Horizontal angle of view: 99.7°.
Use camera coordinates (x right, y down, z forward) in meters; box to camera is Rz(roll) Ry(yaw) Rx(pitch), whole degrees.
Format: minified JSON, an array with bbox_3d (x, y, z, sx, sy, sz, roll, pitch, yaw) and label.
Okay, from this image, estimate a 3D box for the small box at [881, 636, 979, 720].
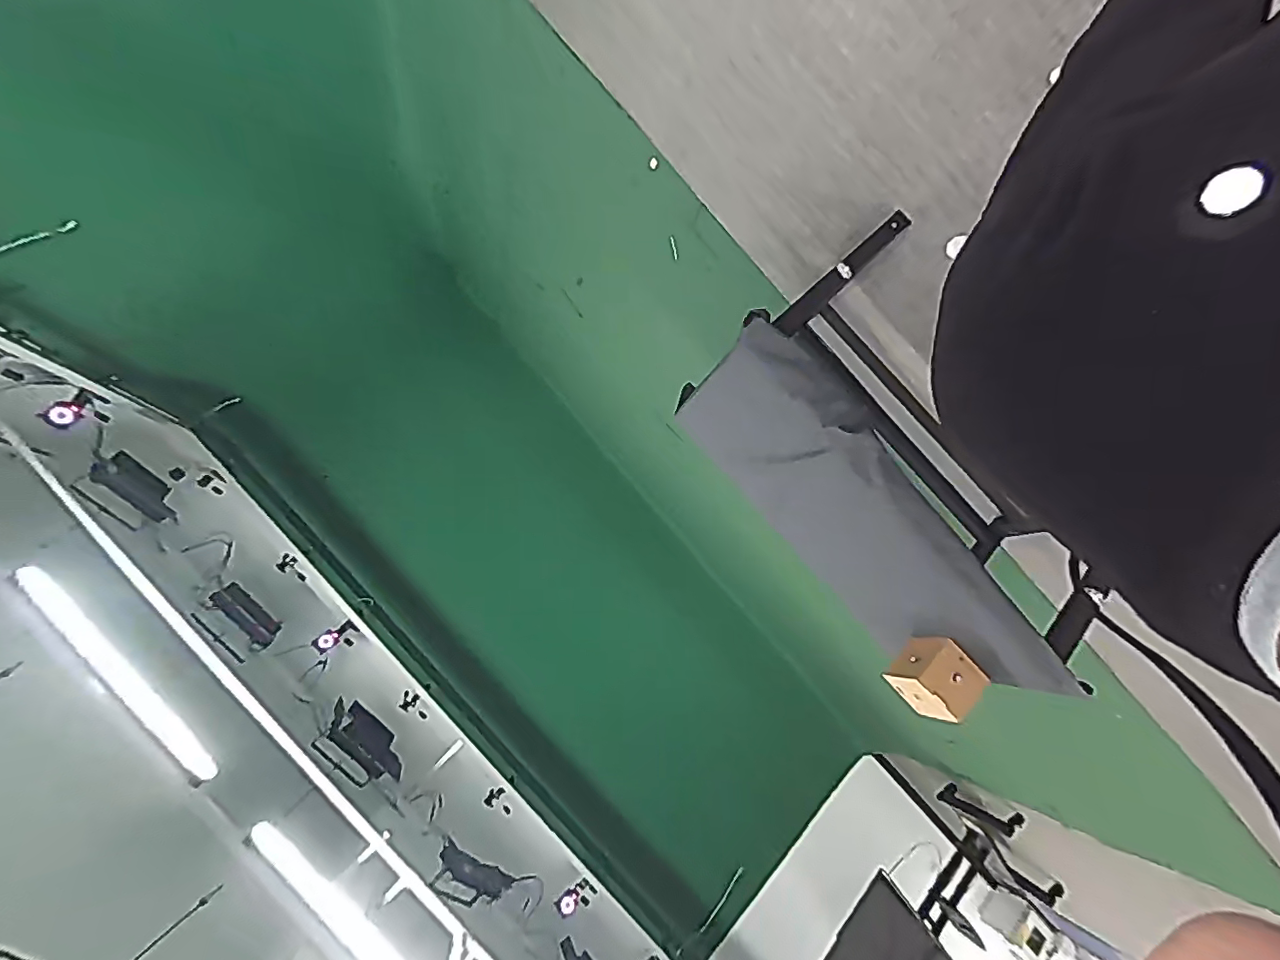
[{"bbox_3d":[0.876,0.585,1.622,0.168,0.176,0.179,47,162,5],"label":"small box"}]
